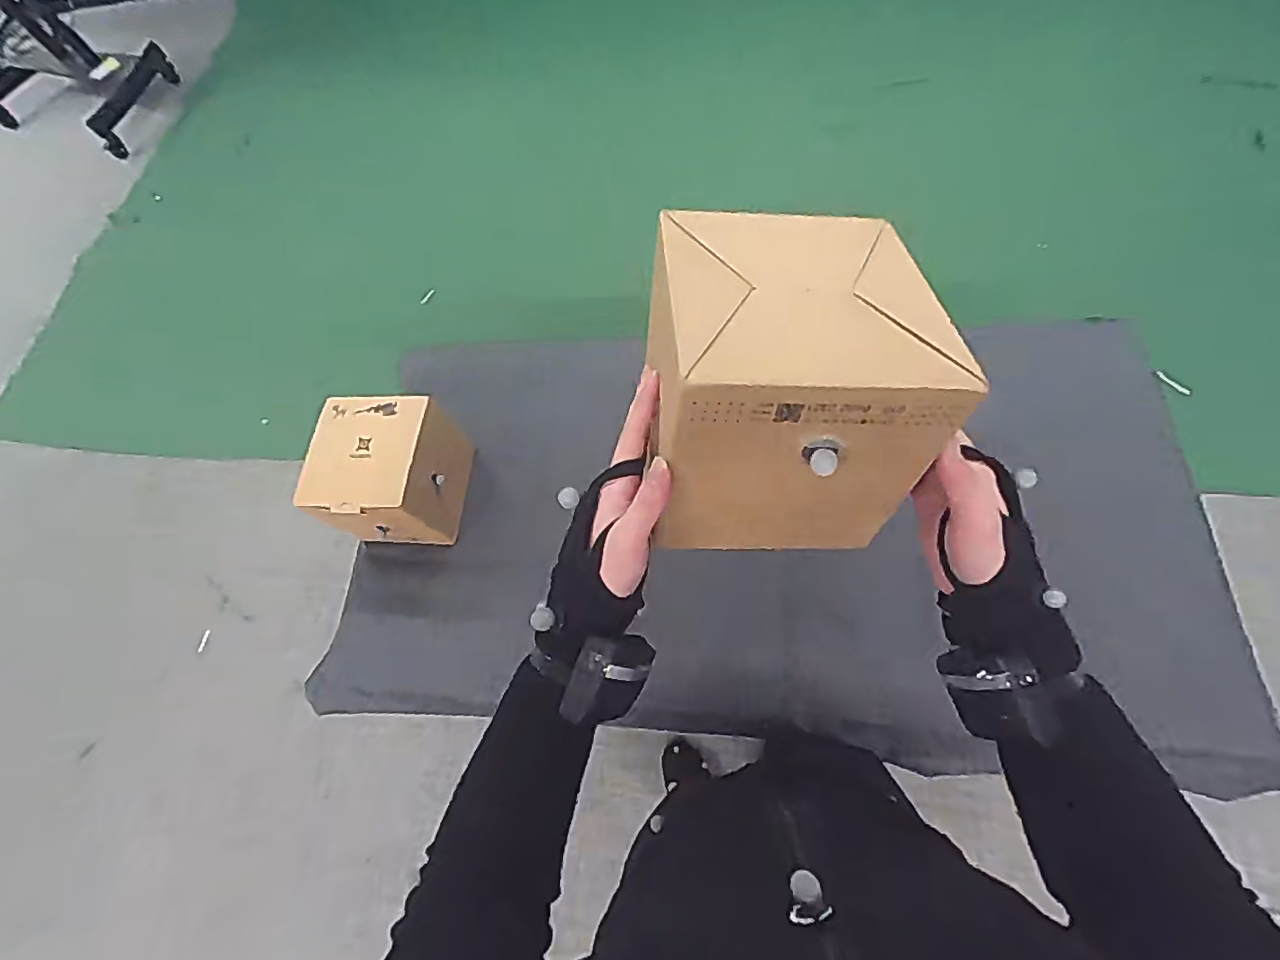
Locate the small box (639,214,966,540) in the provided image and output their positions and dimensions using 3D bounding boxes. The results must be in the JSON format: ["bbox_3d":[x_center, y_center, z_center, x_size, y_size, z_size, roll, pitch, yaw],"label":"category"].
[{"bbox_3d":[0.091,-0.074,0.388,0.168,0.176,0.179,1,51,-4],"label":"small box"}]

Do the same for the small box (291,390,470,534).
[{"bbox_3d":[-0.378,-0.021,0.823,0.168,0.176,0.179,1,70,8],"label":"small box"}]
